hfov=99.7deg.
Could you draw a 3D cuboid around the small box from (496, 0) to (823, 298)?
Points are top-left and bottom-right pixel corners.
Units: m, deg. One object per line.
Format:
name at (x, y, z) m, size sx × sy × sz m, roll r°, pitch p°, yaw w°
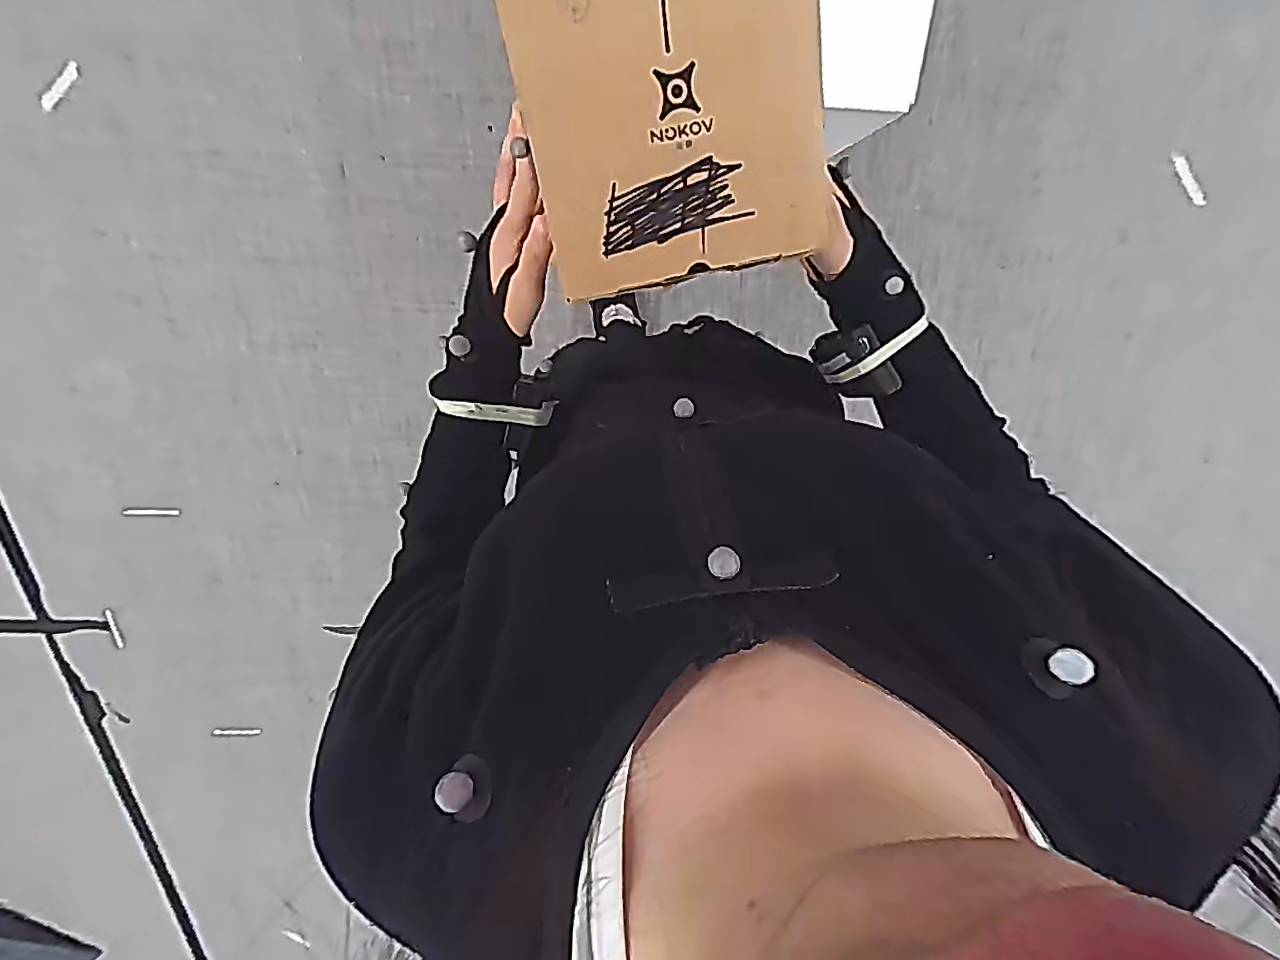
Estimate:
small box at (0.009, -0.236, 0.366) m, size 0.168 × 0.176 × 0.179 m, roll -13°, pitch 114°, yaw -2°
